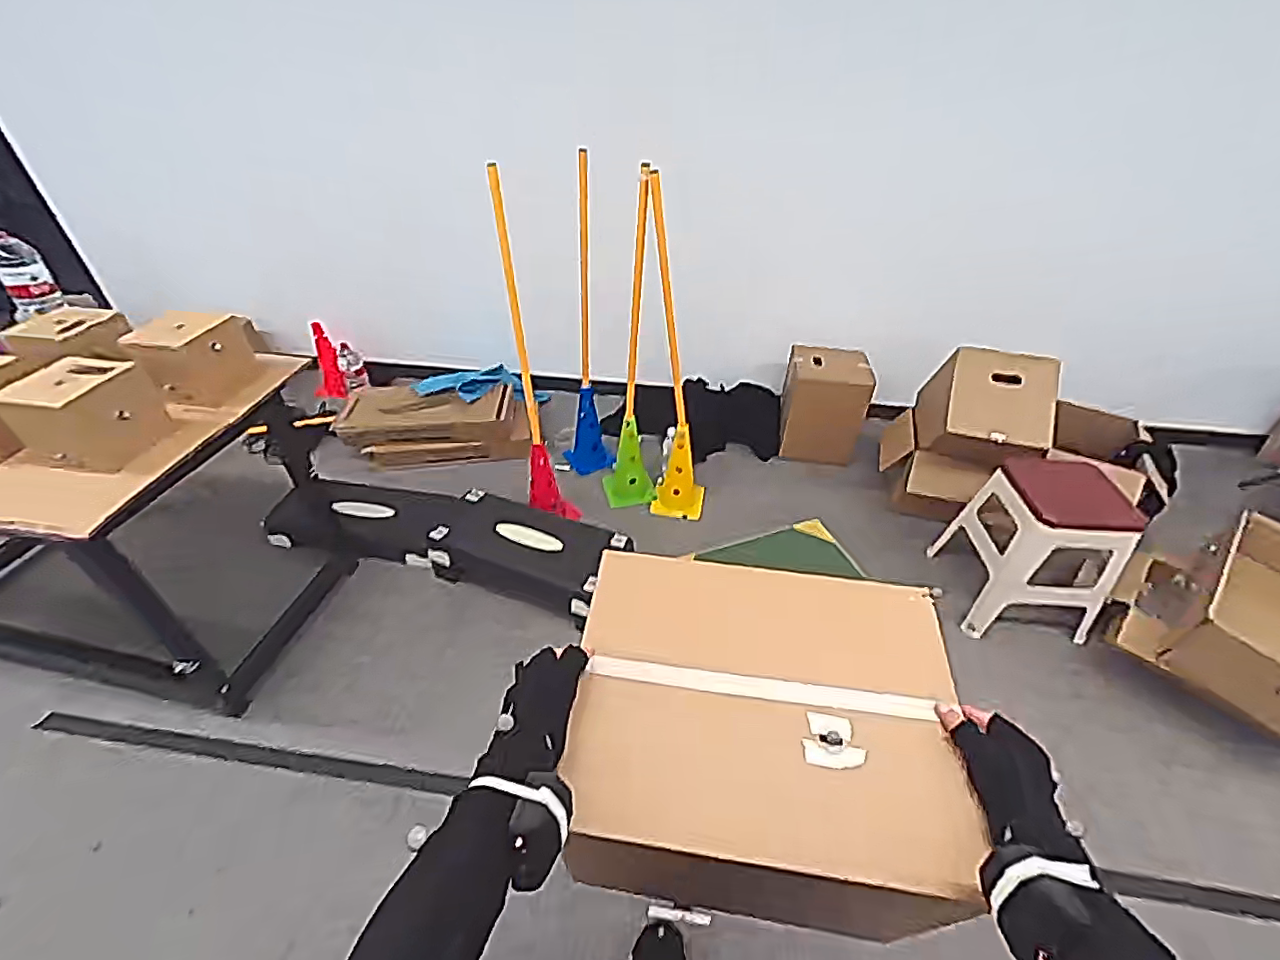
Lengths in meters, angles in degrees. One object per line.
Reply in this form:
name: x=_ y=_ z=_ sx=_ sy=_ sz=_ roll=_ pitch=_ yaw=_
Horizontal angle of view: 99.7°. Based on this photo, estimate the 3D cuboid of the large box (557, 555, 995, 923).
large box: x=0.134 y=0.328 z=0.697 sx=0.408 sy=0.320 sz=0.320 roll=6 pitch=46 yaw=6
